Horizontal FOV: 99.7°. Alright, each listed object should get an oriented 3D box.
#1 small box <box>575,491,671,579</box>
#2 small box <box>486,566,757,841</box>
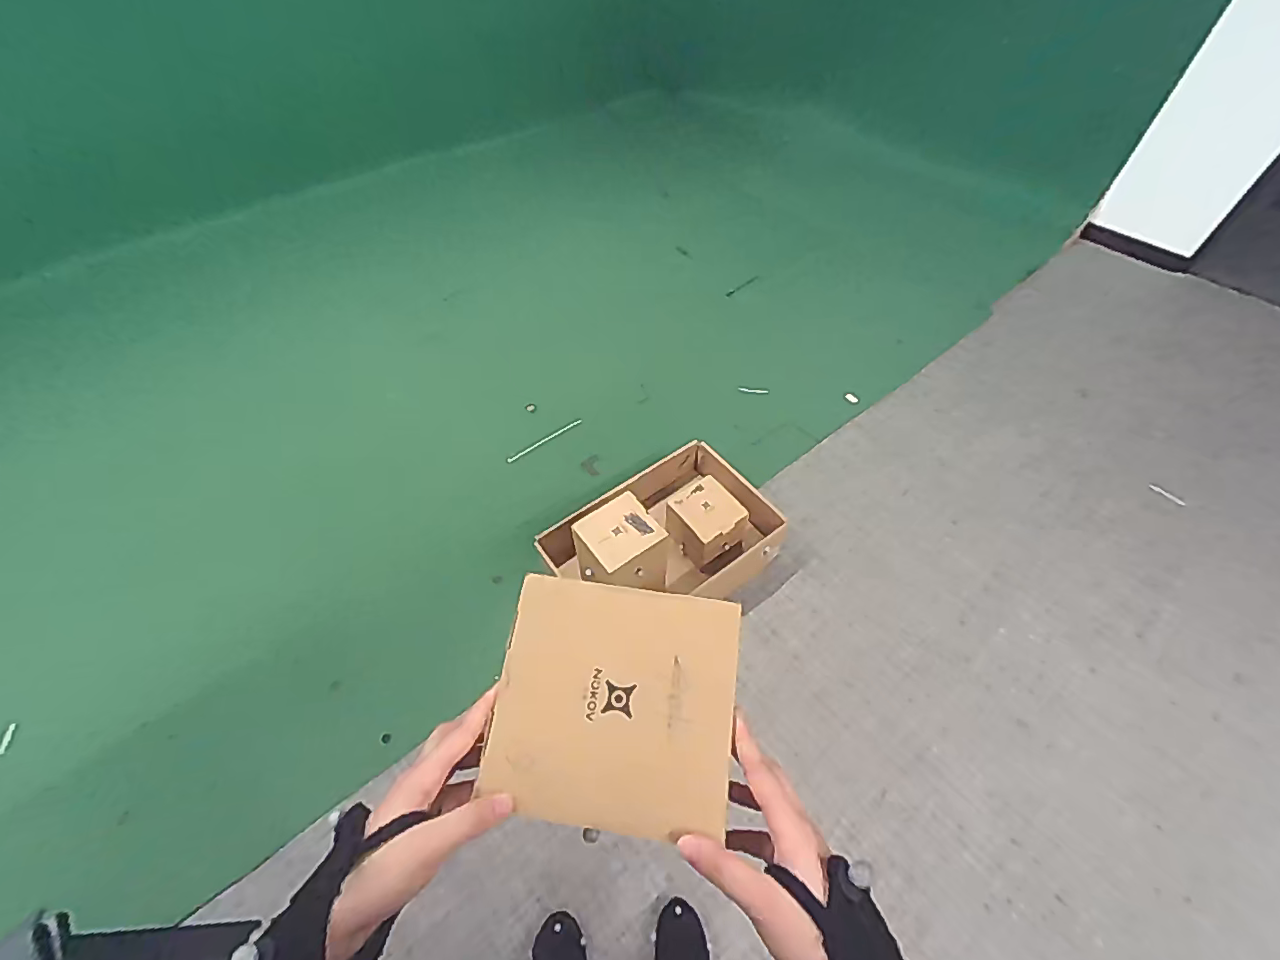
[{"bbox_3d":[-0.043,0.164,1.342,0.179,0.176,0.168,-31,58,-21],"label":"small box"},{"bbox_3d":[-0.005,0.184,0.460,0.179,0.176,0.168,7,66,4],"label":"small box"}]
